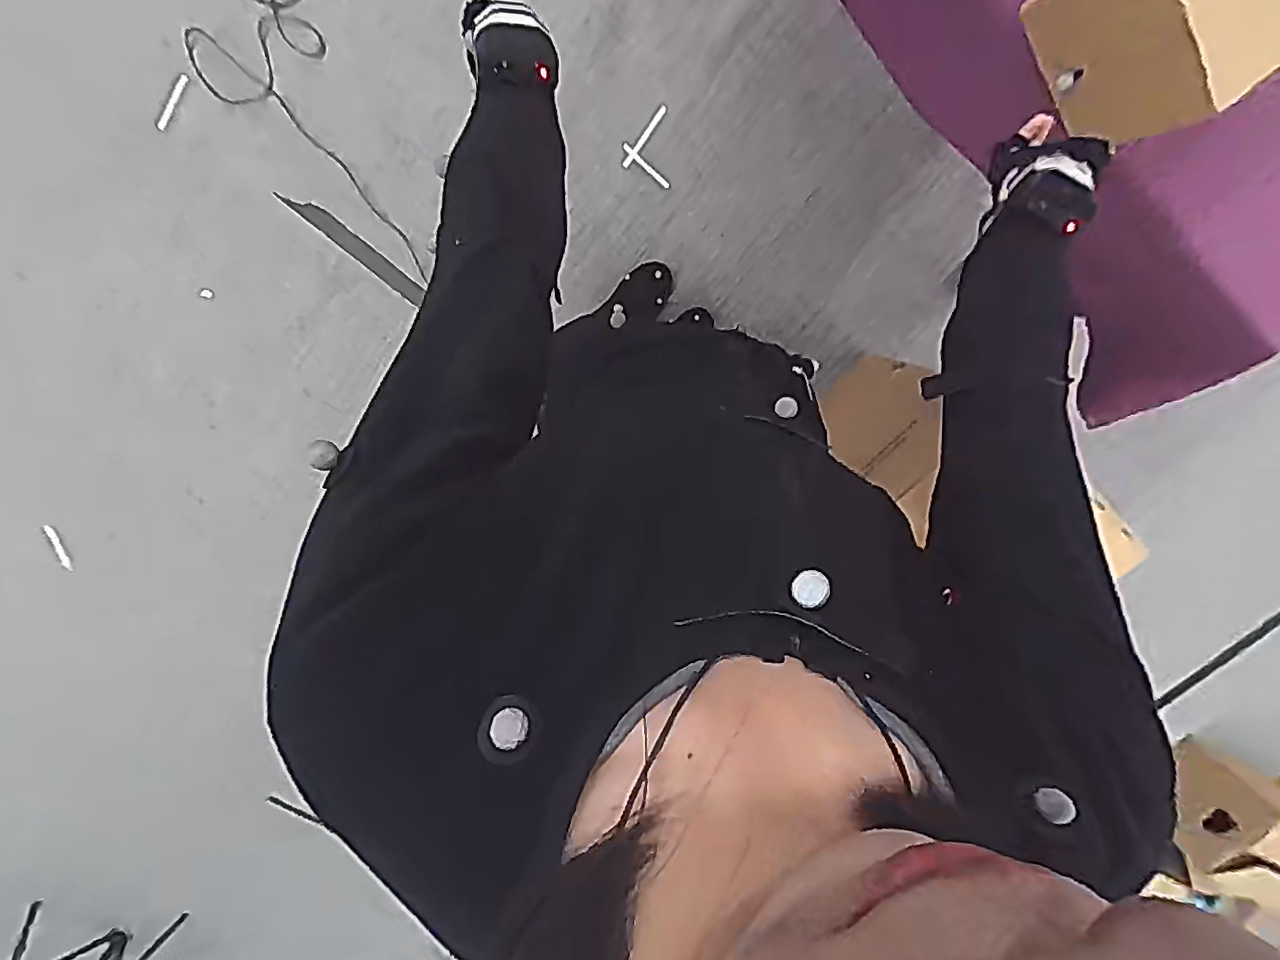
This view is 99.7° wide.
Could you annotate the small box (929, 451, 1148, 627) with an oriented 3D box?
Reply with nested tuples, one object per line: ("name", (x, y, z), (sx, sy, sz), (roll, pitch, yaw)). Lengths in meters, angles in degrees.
("small box", (0.596, 0.081, 0.835), (0.168, 0.176, 0.179), (39, 107, -11))

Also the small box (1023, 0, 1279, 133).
("small box", (0.528, -0.473, 0.522), (0.168, 0.176, 0.179), (-37, 107, 11))
